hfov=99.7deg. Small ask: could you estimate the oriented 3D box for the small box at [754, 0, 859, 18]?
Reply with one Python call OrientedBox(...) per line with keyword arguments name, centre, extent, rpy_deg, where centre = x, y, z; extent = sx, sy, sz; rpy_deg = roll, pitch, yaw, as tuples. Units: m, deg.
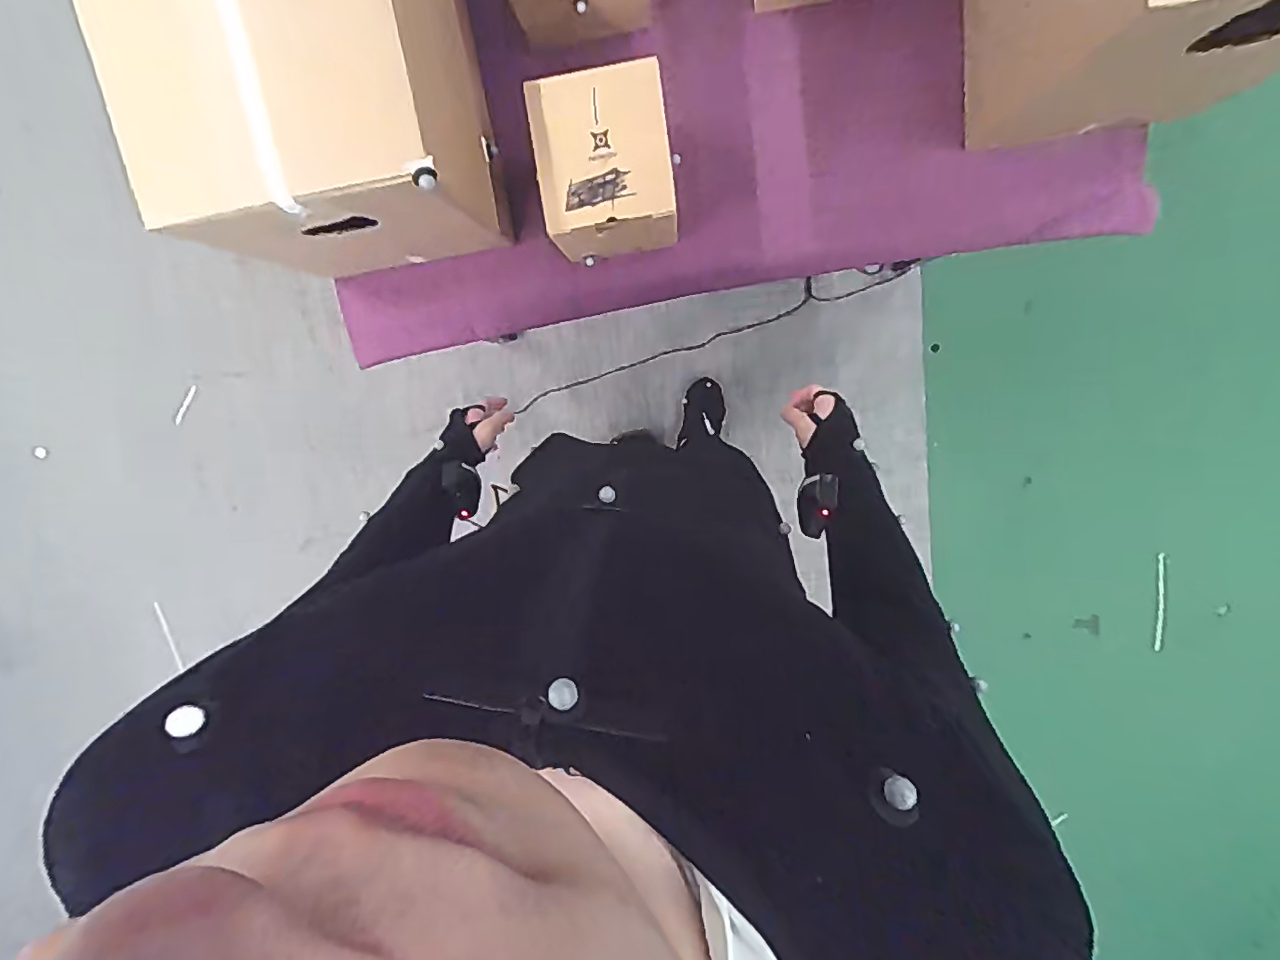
OrientedBox(name="small box", centre=(0.223, -0.724, 0.657), extent=(0.168, 0.176, 0.179), rpy_deg=(-8, 101, 6))
